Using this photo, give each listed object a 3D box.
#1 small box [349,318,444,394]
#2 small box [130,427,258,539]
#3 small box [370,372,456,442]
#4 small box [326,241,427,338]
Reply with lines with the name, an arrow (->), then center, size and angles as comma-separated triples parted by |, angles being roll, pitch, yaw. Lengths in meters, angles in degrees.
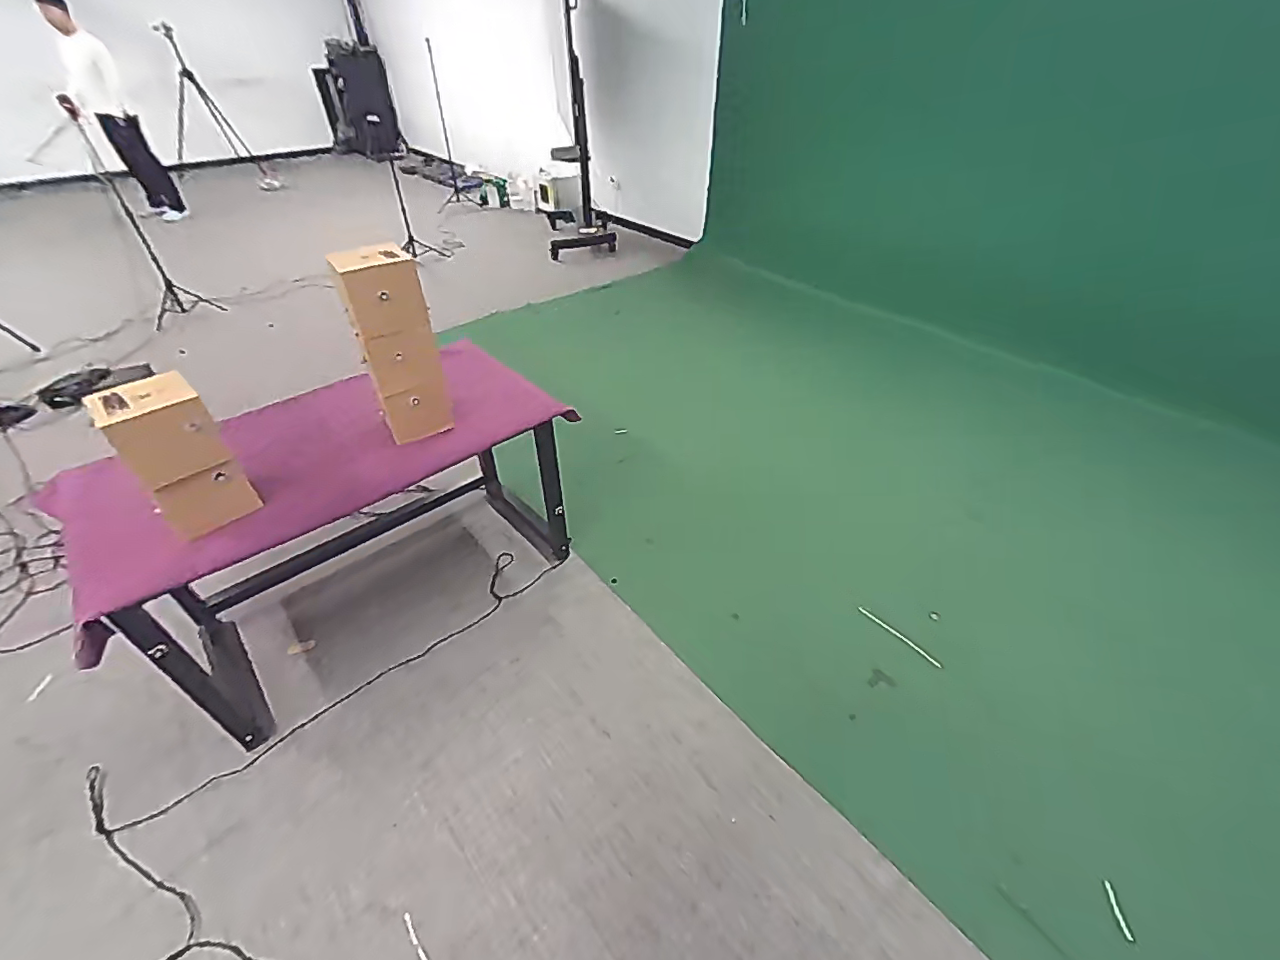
small box -> -0.661, -0.358, 1.479 | 0.179, 0.176, 0.168 | -25, 47, -25
small box -> -1.058, 0.007, 1.298 | 0.168, 0.176, 0.179 | 31, 50, 32
small box -> -0.661, -0.234, 1.585 | 0.179, 0.176, 0.168 | -21, 45, -23
small box -> -0.661, -0.485, 1.374 | 0.179, 0.176, 0.168 | -25, 47, -25
